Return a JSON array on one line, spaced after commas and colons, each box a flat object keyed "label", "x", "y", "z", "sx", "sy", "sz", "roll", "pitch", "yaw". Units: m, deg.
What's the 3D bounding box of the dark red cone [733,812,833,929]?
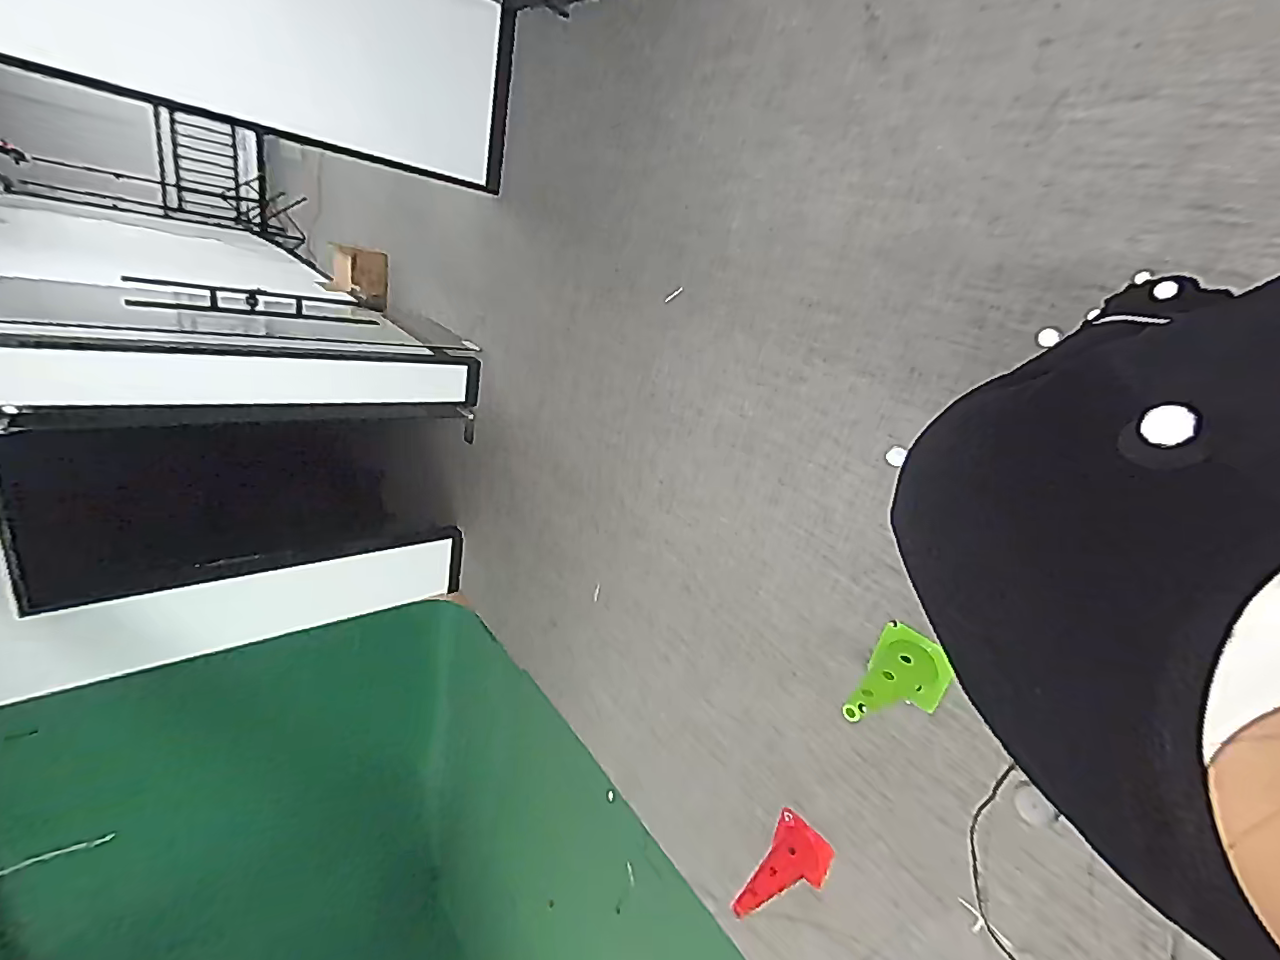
[{"label": "dark red cone", "x": 0.432, "y": 1.286, "z": 1.734, "sx": 0.202, "sy": 0.394, "sz": 0.201, "roll": 27, "pitch": 117, "yaw": 43}]

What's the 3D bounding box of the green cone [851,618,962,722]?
[{"label": "green cone", "x": 0.646, "y": 0.535, "z": 1.407, "sx": 0.202, "sy": 0.368, "sz": 0.200, "roll": 31, "pitch": 119, "yaw": 40}]
